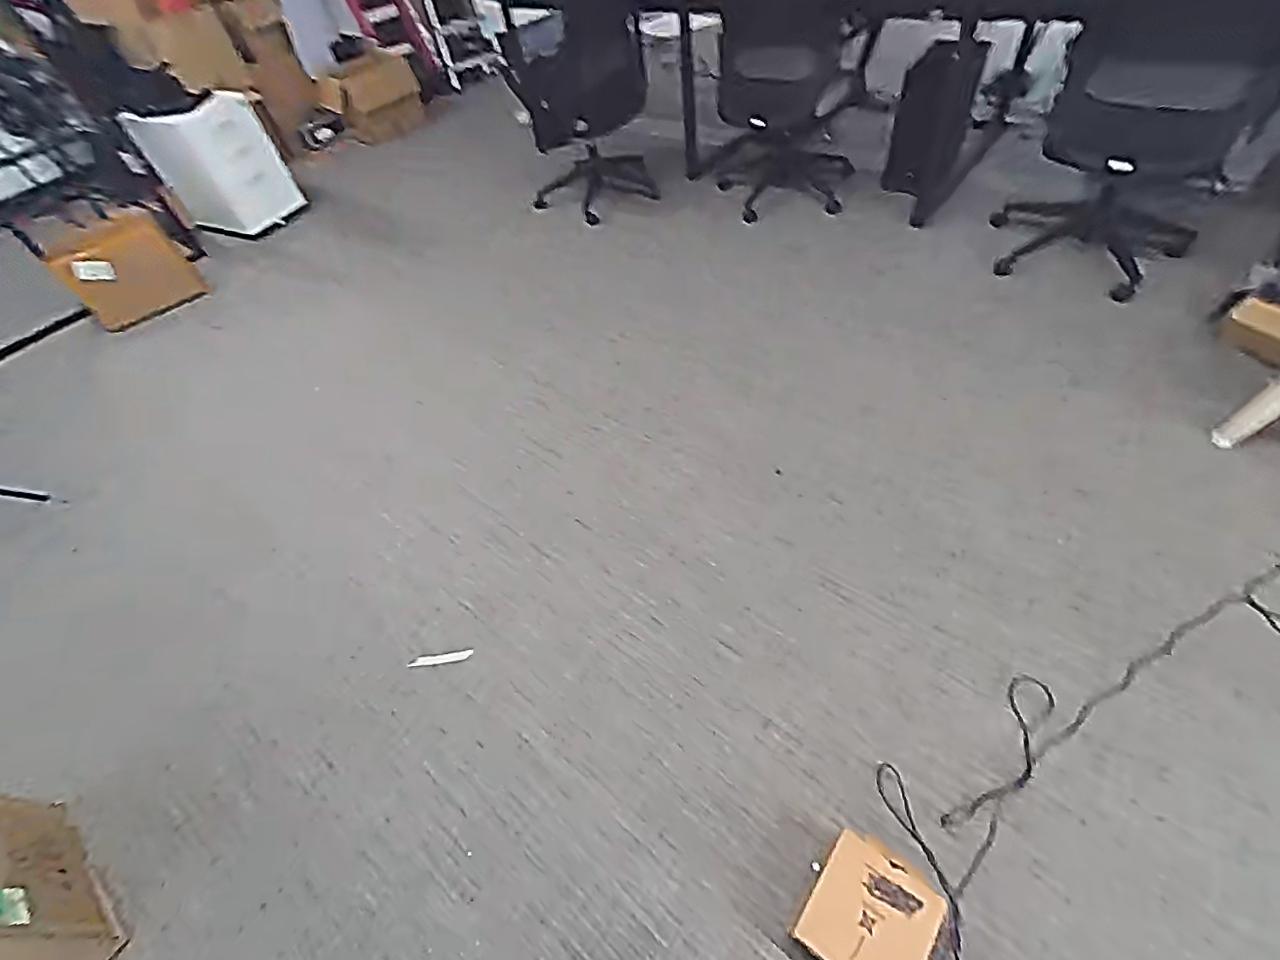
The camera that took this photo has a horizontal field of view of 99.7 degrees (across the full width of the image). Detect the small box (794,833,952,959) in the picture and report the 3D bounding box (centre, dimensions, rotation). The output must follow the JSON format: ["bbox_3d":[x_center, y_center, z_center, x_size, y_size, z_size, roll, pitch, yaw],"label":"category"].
[{"bbox_3d":[0.362,0.715,0.869,0.168,0.176,0.179,28,61,28],"label":"small box"}]
